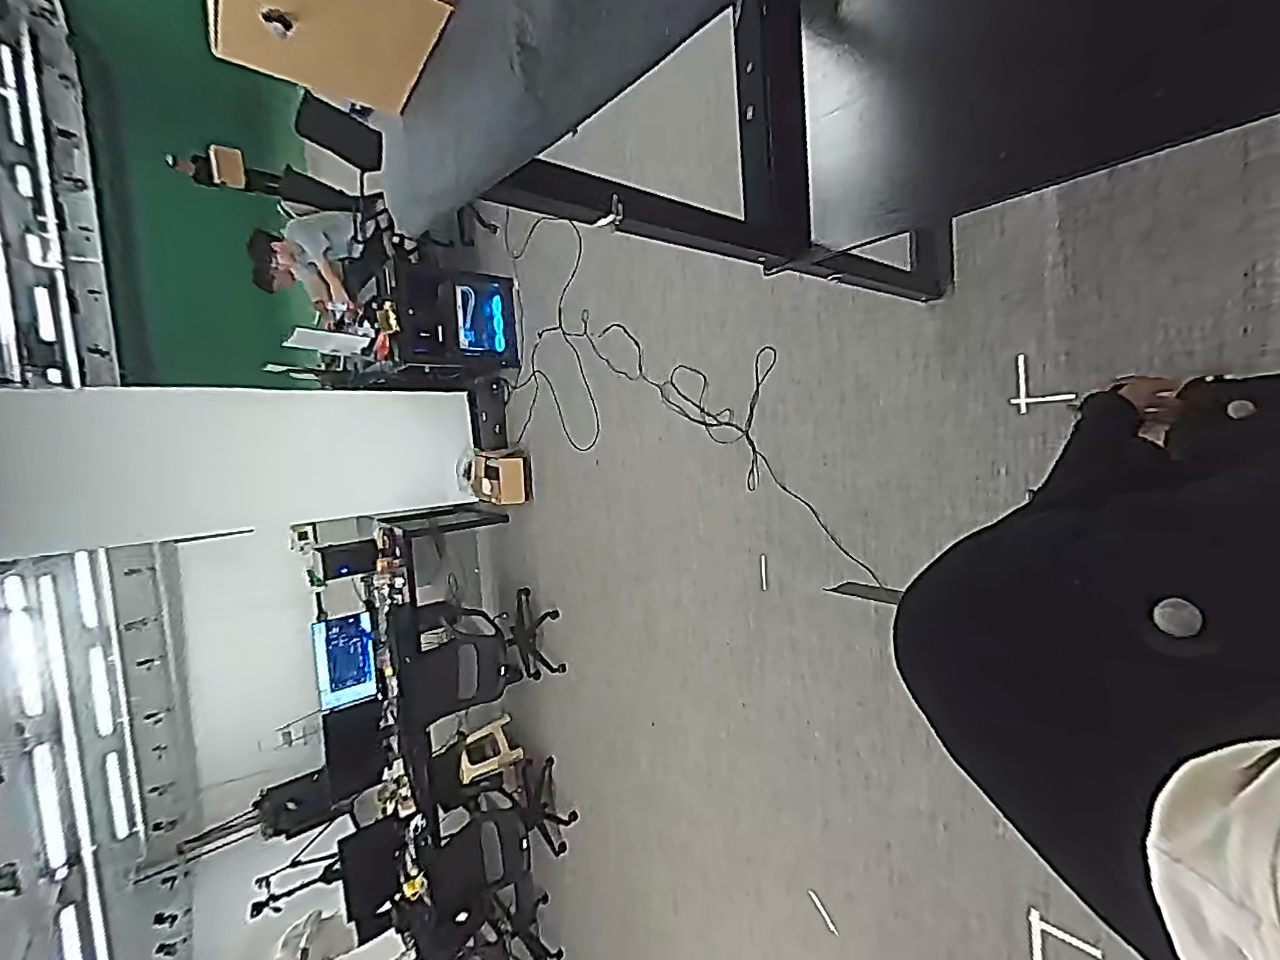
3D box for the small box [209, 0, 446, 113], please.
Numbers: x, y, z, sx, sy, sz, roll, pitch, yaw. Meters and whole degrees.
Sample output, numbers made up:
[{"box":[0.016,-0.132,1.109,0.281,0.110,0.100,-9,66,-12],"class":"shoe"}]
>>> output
[{"box":[-0.291,-0.485,0.497,0.179,0.176,0.168,-4,91,50],"class":"small box"}]
